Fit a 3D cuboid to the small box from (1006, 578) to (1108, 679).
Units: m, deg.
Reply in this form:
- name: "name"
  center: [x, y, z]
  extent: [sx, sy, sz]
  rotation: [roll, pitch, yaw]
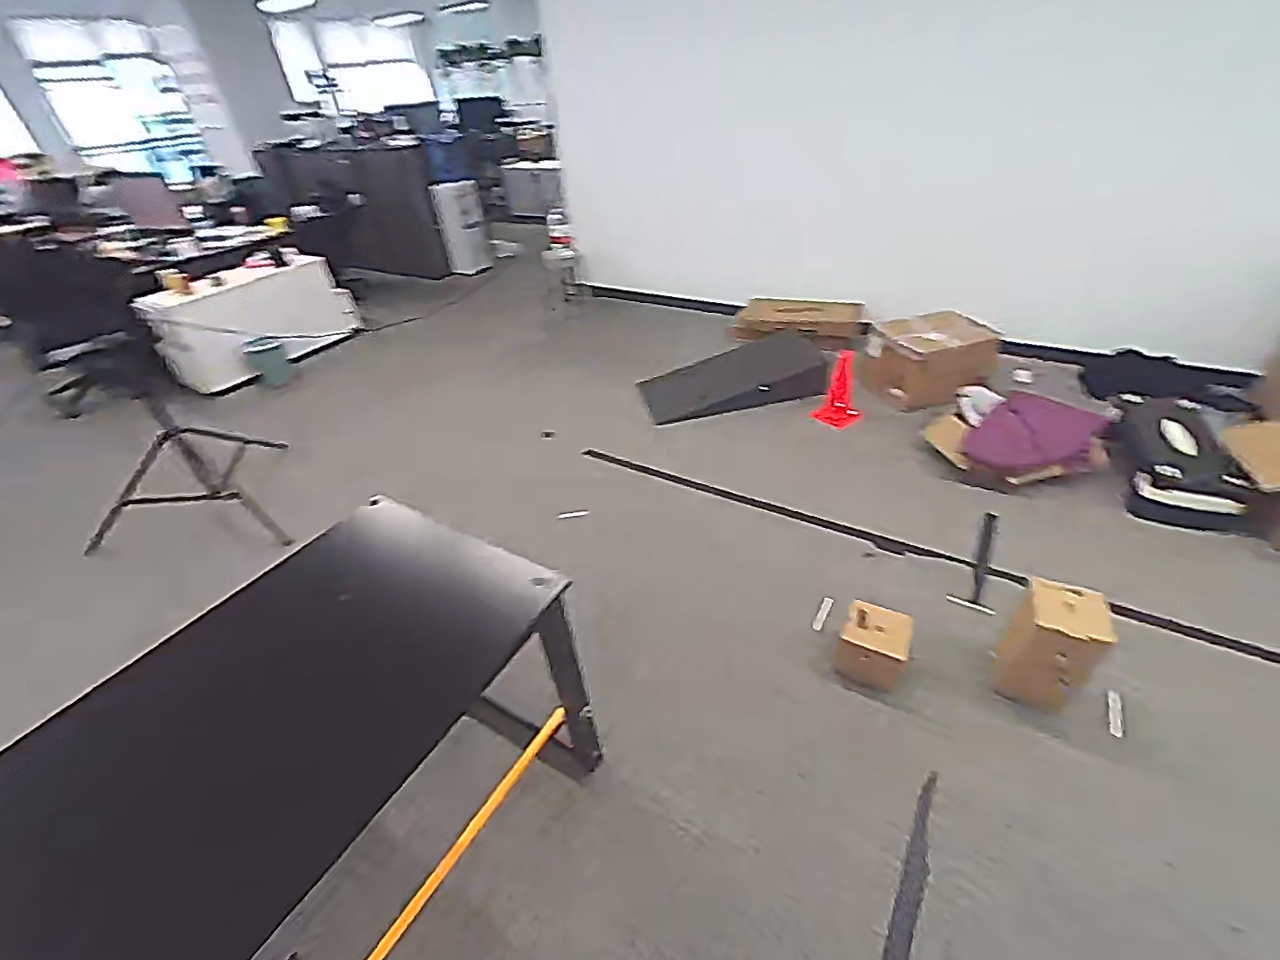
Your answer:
- name: "small box"
  center: [1.110, 0.401, 1.453]
  extent: [0.168, 0.176, 0.179]
  rotation: [12, 42, 21]

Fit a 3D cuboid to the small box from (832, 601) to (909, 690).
- name: "small box"
  center: [0.693, 0.503, 1.636]
  extent: [0.179, 0.176, 0.168]
  rotation: [15, 42, 24]

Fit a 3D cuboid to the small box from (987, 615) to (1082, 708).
- name: "small box"
  center: [1.128, 0.526, 1.558]
  extent: [0.179, 0.176, 0.168]
  rotation: [13, 41, 22]
